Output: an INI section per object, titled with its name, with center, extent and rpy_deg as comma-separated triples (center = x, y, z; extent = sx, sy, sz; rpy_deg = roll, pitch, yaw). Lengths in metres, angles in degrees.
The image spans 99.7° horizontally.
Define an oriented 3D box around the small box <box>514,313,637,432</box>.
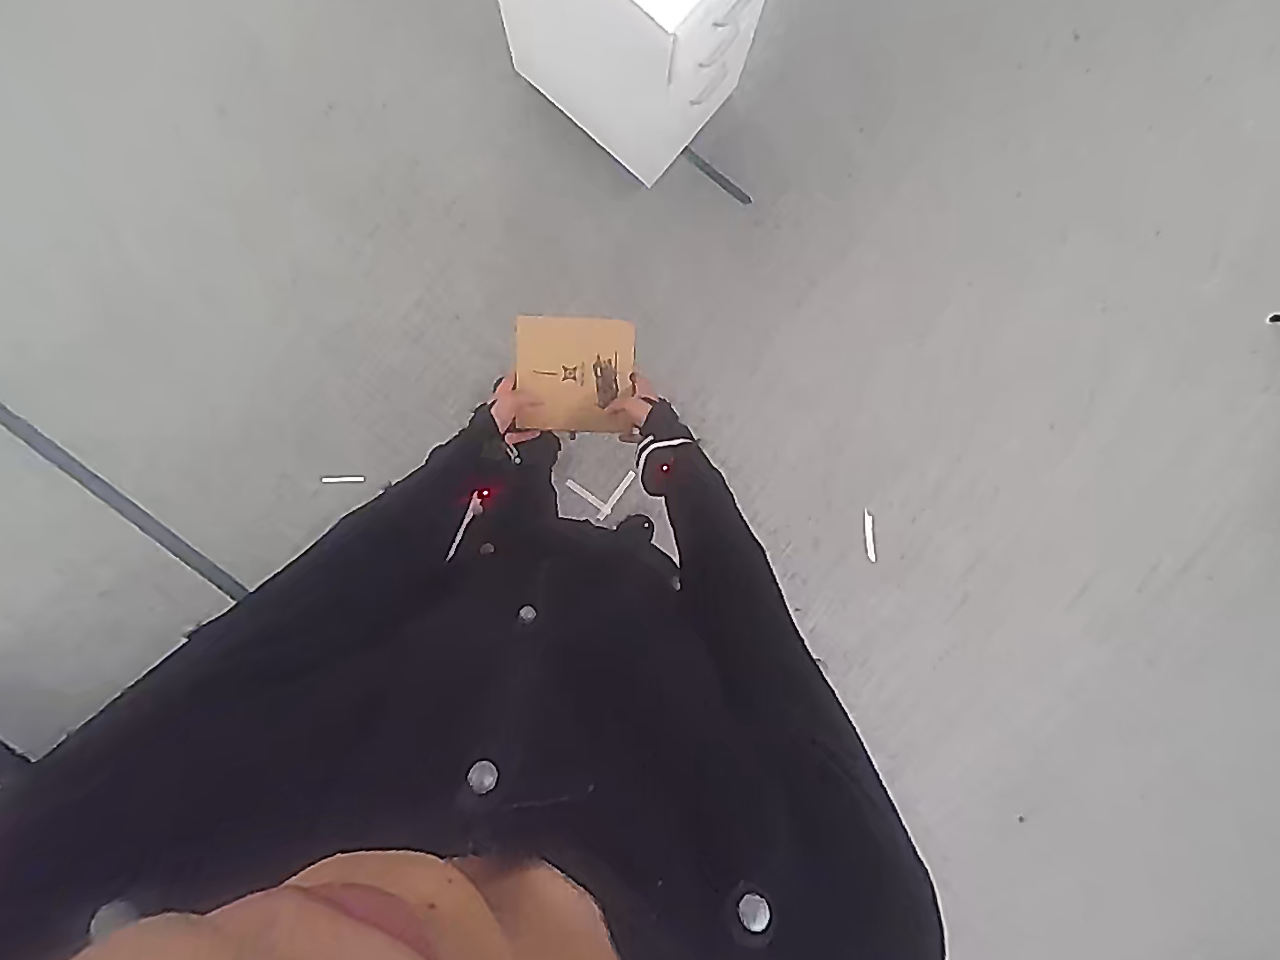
[small box]
center = -0.097, -0.165, 0.868
extent = 0.179, 0.176, 0.168
rpy_deg = 2, 95, -1
